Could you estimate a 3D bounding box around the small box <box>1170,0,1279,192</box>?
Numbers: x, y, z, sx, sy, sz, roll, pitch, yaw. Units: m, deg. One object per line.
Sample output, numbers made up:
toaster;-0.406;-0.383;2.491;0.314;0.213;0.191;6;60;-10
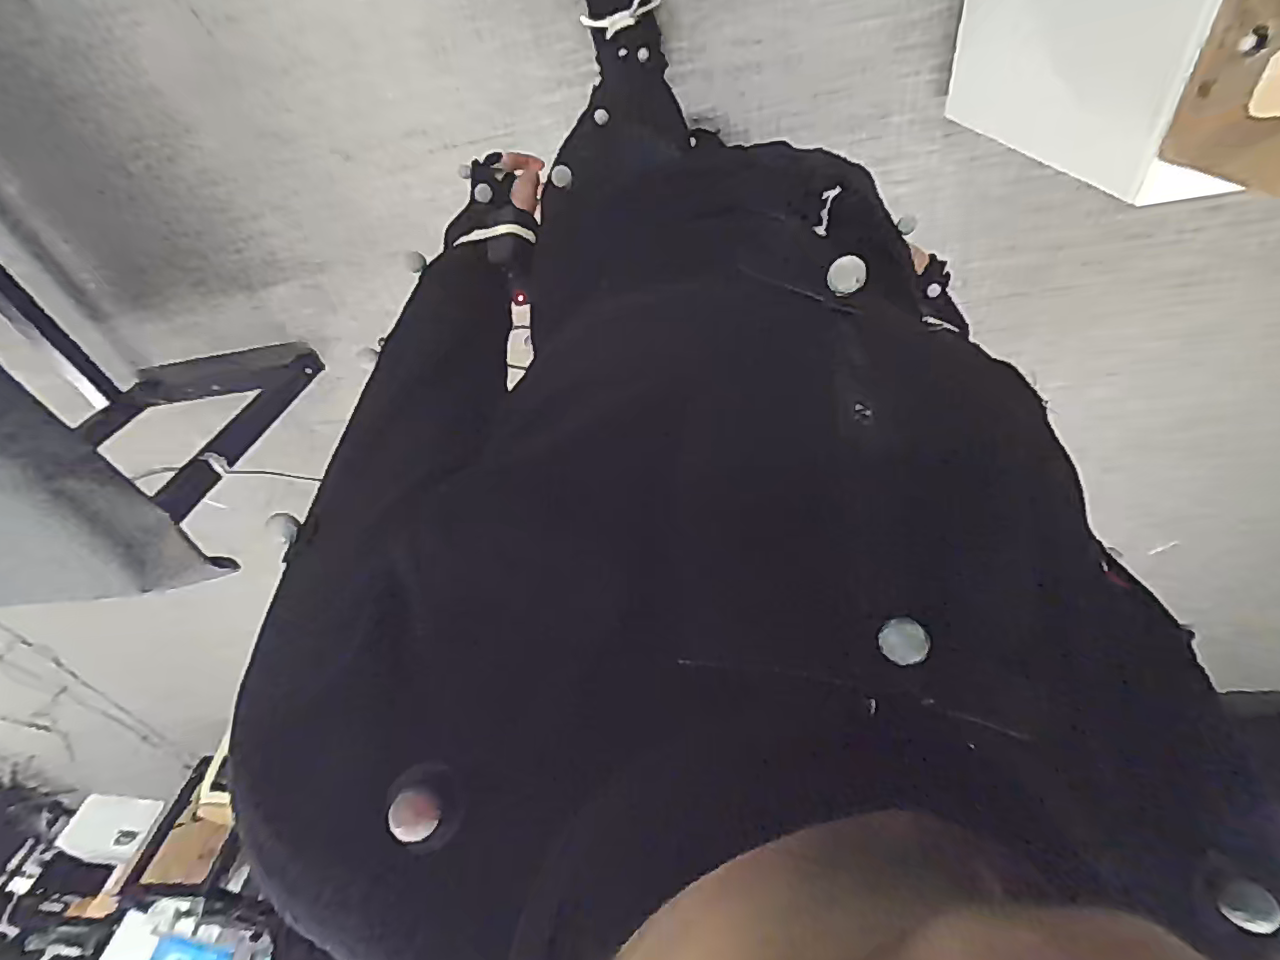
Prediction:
small box;0.586;-0.337;0.410;0.179;0.176;0.168;-5;132;8
